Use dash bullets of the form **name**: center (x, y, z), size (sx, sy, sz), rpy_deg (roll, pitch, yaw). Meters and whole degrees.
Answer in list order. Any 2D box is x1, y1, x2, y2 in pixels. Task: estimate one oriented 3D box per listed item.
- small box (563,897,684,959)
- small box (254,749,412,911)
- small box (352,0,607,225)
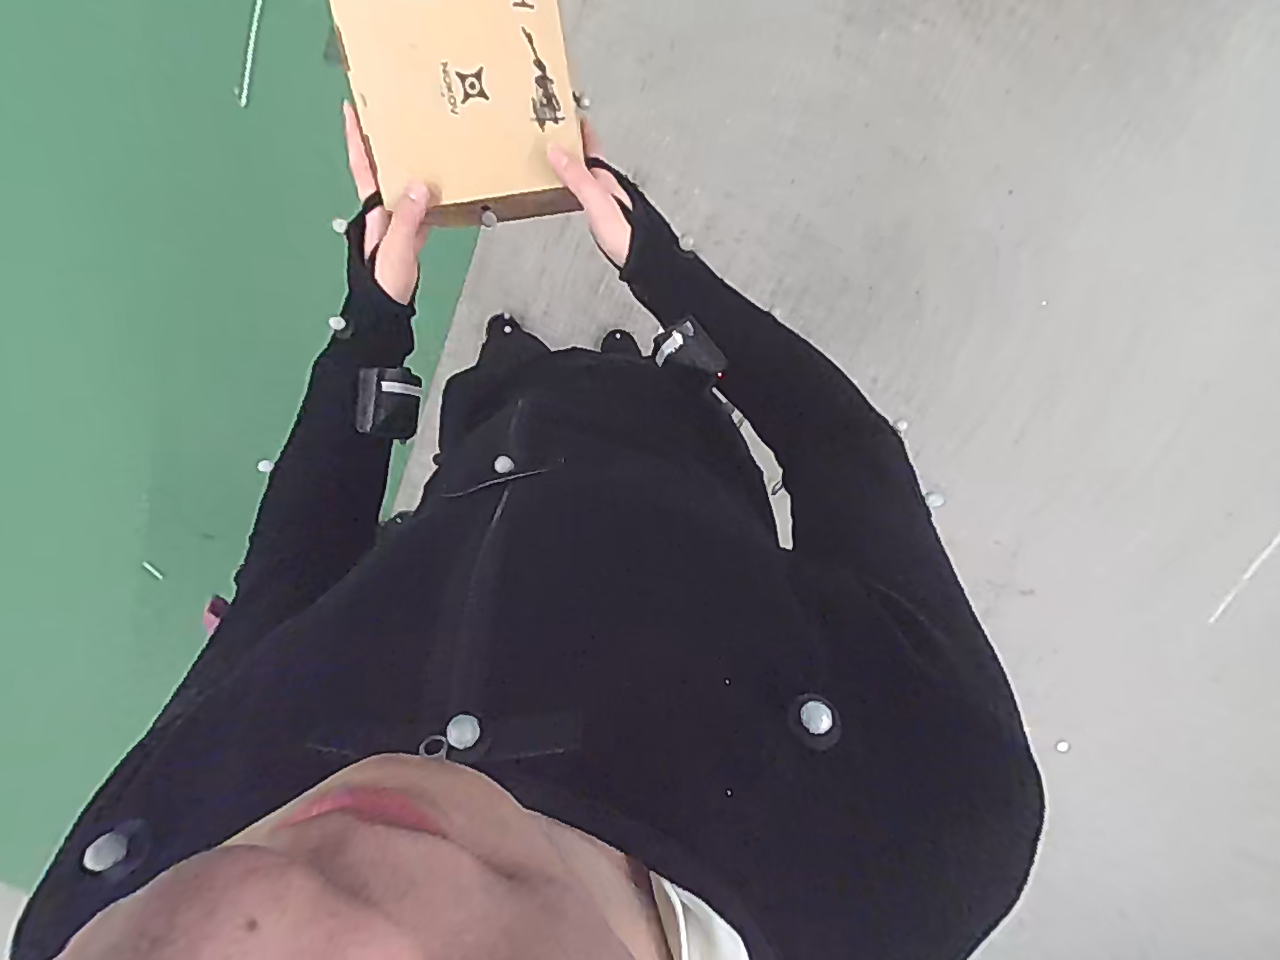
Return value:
- **small box**: center (-0.035, 0.835, 0.886), size (0.179, 0.176, 0.168), rpy_deg (19, 107, -5)
- **small box**: center (-0.563, 0.642, 1.010), size (0.179, 0.176, 0.168), rpy_deg (25, 106, -8)
- **small box**: center (-0.129, -0.343, 0.505), size (0.179, 0.176, 0.168), rpy_deg (-7, 109, 0)
